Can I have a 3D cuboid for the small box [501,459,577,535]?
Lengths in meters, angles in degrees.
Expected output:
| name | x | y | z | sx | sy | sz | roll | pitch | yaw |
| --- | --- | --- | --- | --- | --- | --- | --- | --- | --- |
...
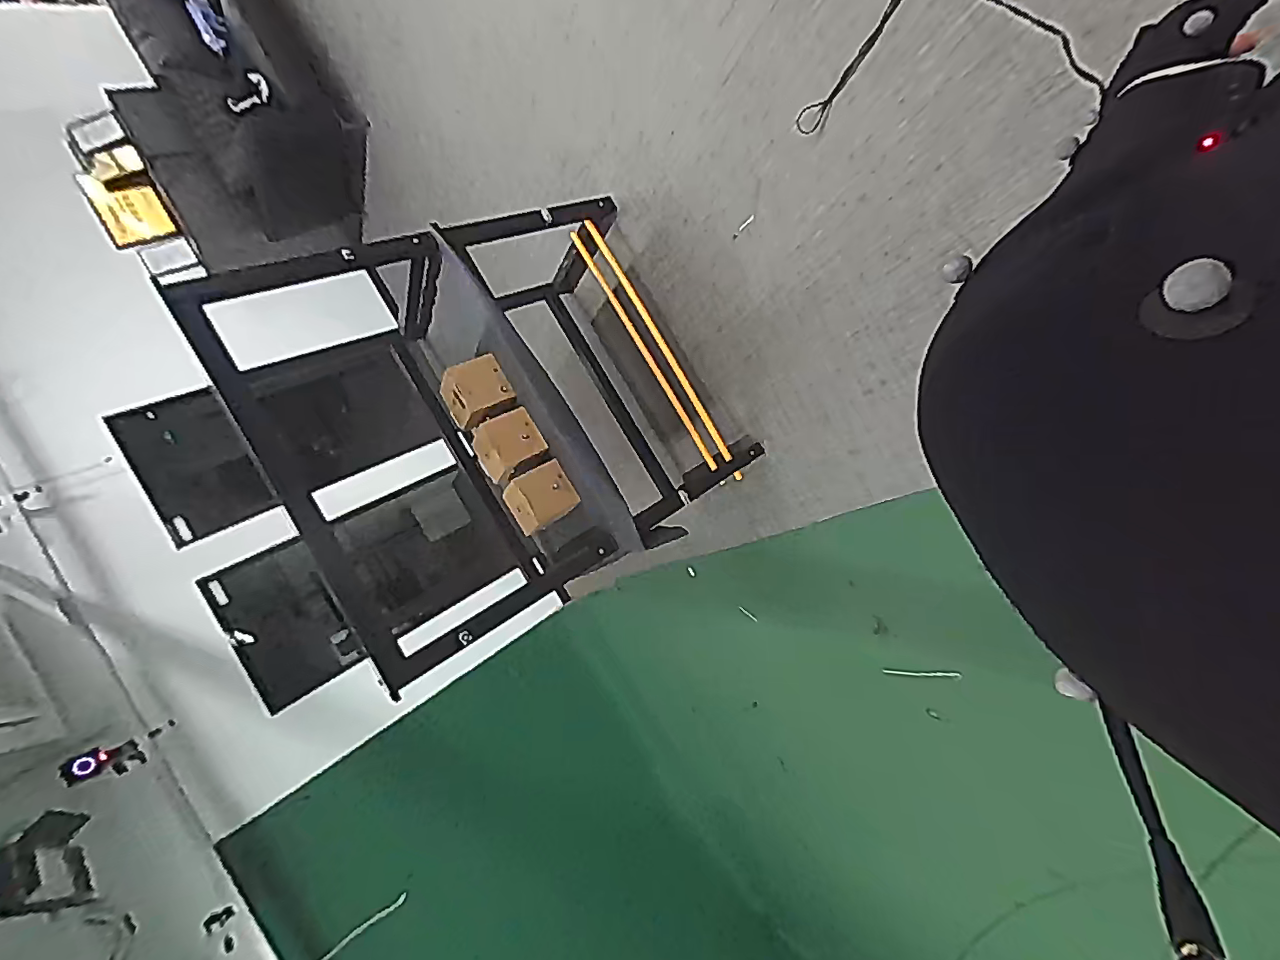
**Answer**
| name | x | y | z | sx | sy | sz | roll | pitch | yaw |
| --- | --- | --- | --- | --- | --- | --- | --- | --- | --- |
| small box | -0.332 | 0.056 | 1.785 | 0.168 | 0.176 | 0.179 | 58 | 148 | 4 |
